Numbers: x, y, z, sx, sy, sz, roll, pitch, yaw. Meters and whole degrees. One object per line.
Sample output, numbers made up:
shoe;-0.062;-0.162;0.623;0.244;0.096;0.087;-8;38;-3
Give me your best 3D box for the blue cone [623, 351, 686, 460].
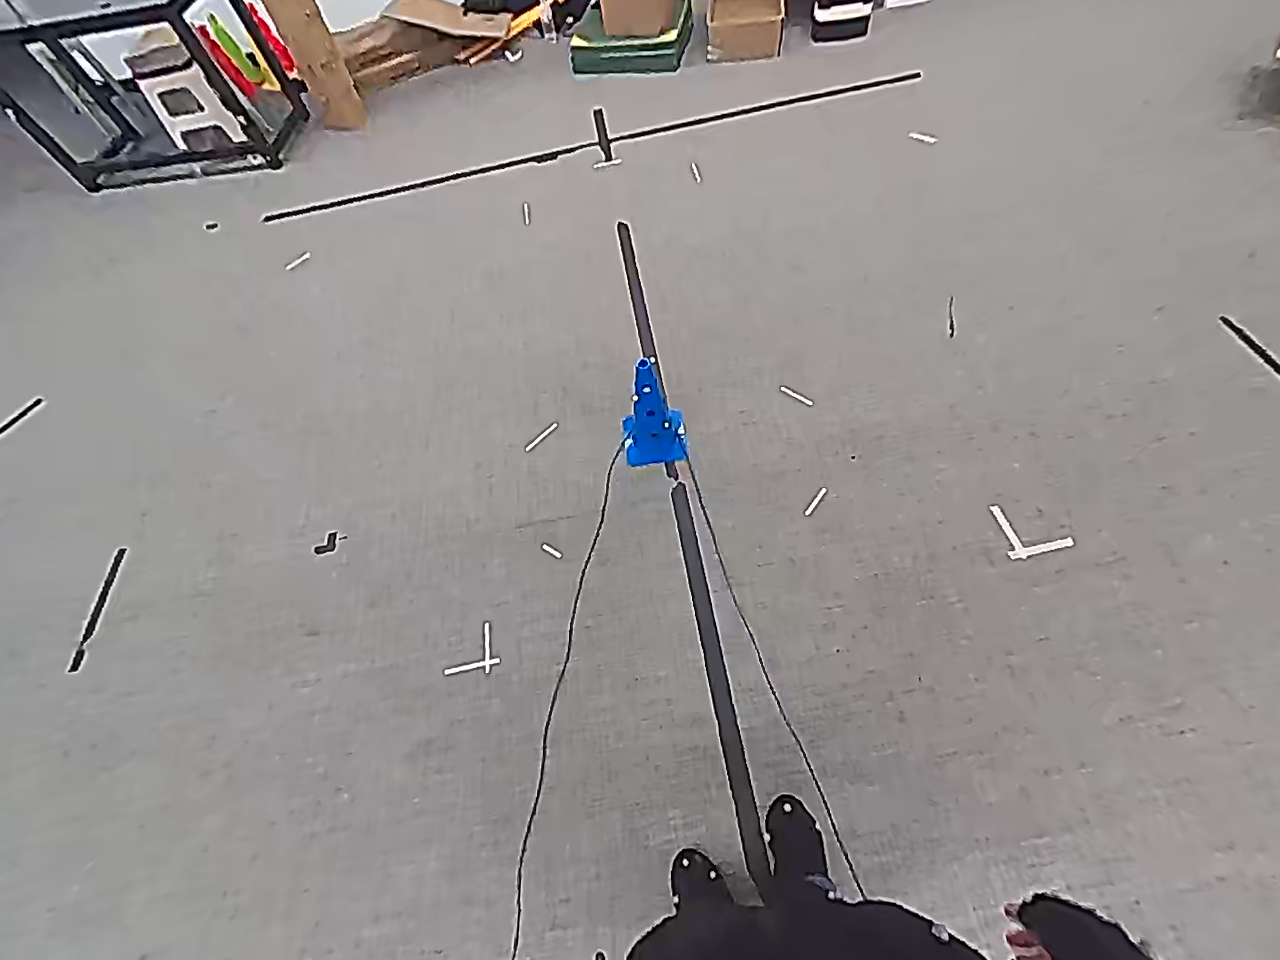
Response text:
blue cone;0.027;-0.231;1.599;0.193;0.380;0.192;-10;60;3
